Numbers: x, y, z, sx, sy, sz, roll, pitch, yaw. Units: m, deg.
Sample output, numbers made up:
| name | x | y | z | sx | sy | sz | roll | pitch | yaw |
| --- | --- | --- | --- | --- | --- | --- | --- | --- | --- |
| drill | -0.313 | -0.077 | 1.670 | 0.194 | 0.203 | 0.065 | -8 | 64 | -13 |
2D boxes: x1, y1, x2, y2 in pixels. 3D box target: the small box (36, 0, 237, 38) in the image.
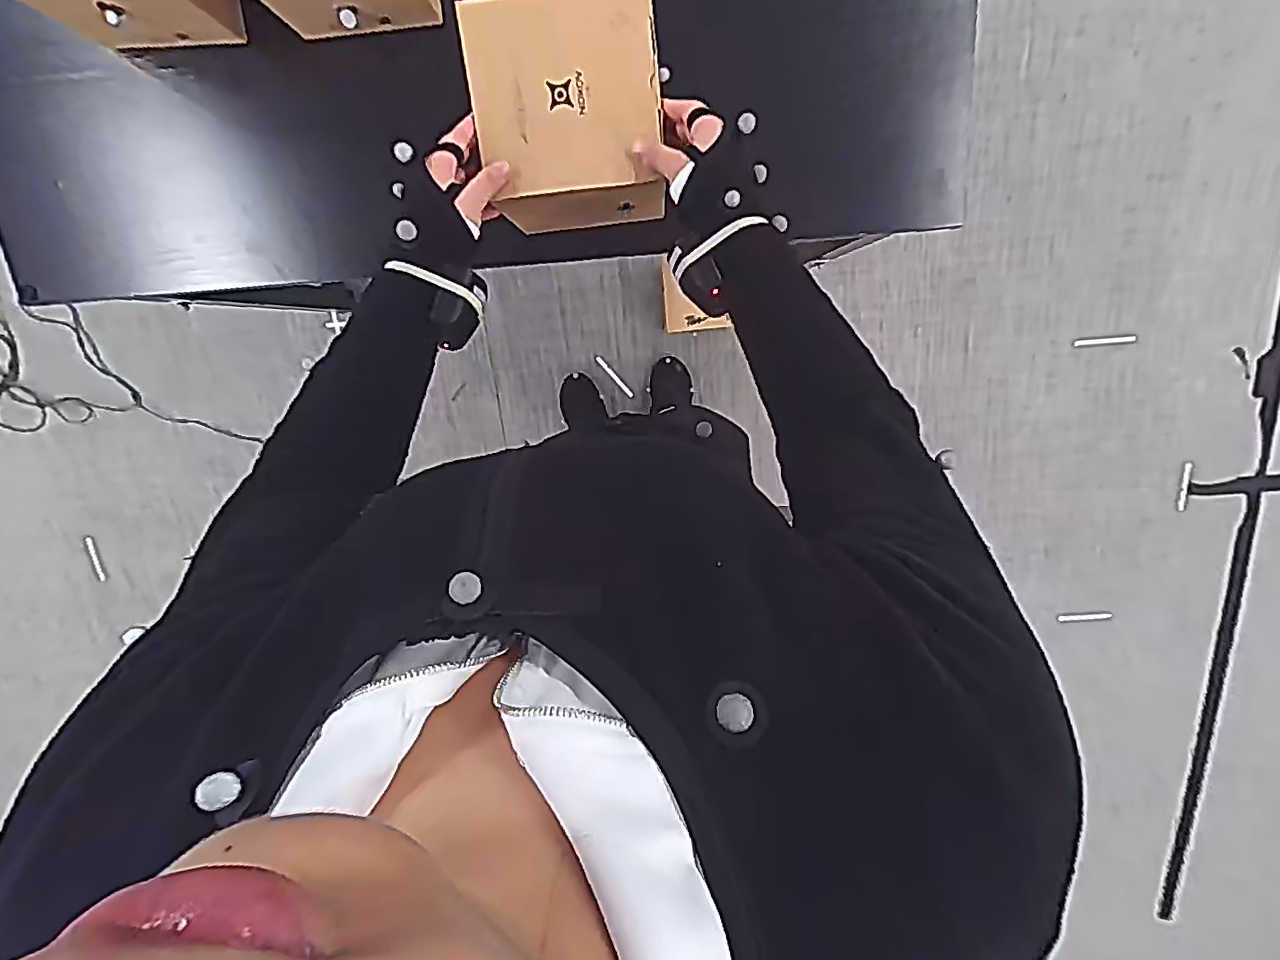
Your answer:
| name | x | y | z | sx | sy | sz | roll | pitch | yaw |
| --- | --- | --- | --- | --- | --- | --- | --- | --- | --- |
| small box | -0.540 | -0.568 | 0.526 | 0.168 | 0.176 | 0.179 | -2 | 105 | 0 |

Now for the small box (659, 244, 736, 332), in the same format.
| name | x | y | z | sx | sy | sz | roll | pitch | yaw |
| --- | --- | --- | --- | --- | --- | --- | --- | --- | --- |
| small box | 0.134 | -0.455 | 1.301 | 0.168 | 0.176 | 0.179 | -5 | 104 | 3 |

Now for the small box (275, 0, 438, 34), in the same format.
| name | x | y | z | sx | sy | sz | roll | pitch | yaw |
| --- | --- | --- | --- | --- | --- | --- | --- | --- | --- |
| small box | -0.315 | -0.580 | 0.520 | 0.168 | 0.176 | 0.179 | -5 | 106 | 2 |

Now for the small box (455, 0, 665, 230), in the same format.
| name | x | y | z | sx | sy | sz | roll | pitch | yaw |
| --- | --- | --- | --- | --- | --- | --- | --- | --- | --- |
| small box | -0.069 | -0.376 | 0.573 | 0.179 | 0.176 | 0.168 | -6 | 103 | 3 |
